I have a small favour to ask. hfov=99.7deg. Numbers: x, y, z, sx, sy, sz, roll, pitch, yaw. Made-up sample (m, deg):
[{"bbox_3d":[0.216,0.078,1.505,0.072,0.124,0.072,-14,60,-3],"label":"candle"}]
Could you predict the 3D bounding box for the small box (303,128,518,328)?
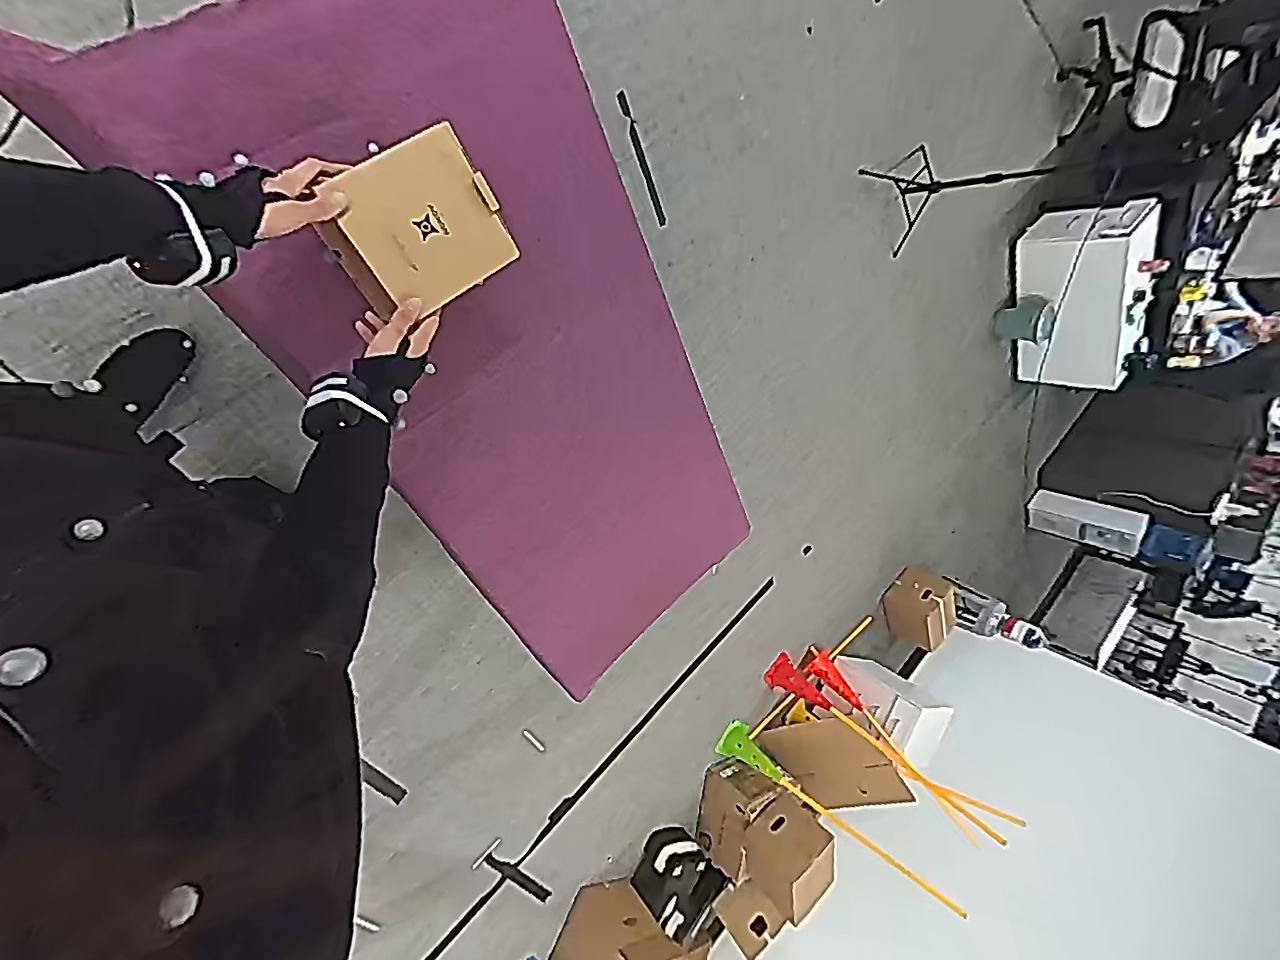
[{"bbox_3d":[-0.297,-0.317,0.697,0.179,0.176,0.168,-41,126,-19],"label":"small box"}]
